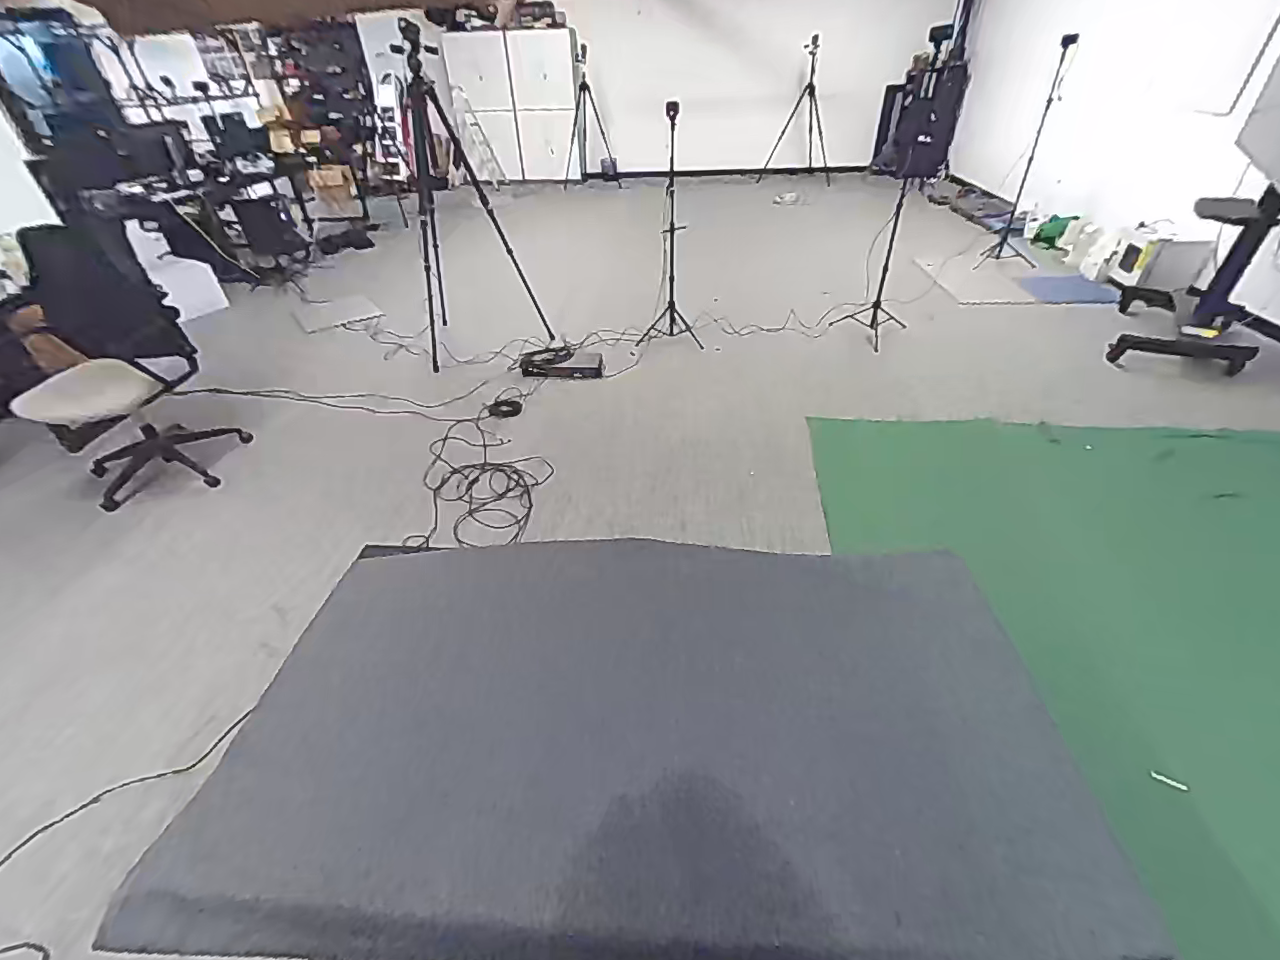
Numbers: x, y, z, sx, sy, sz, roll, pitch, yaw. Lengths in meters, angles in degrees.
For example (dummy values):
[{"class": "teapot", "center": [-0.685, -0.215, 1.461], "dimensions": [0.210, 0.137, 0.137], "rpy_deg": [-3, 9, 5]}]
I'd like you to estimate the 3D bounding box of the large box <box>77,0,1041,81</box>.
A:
[{"class": "large box", "center": [-0.025, -0.373, 0.150], "dimensions": [0.408, 0.320, 0.320], "rpy_deg": [-2, 63, 4]}]
